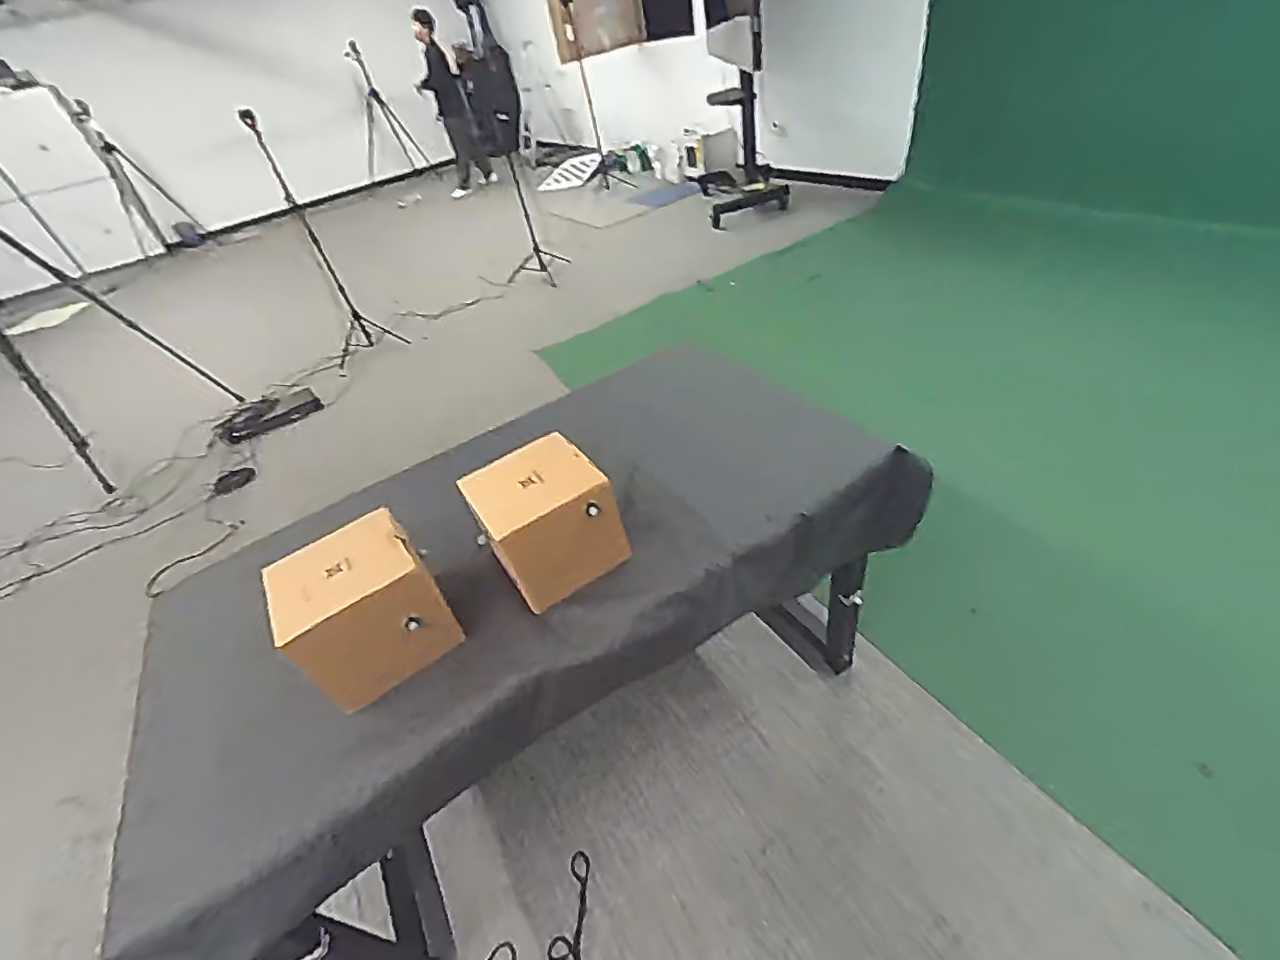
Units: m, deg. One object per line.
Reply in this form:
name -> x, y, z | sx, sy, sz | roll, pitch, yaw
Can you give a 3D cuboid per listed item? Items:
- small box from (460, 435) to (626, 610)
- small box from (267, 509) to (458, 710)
small box -> -0.143, 0.065, 0.831 | 0.179, 0.176, 0.168 | -30, 42, -20
small box -> -0.378, 0.179, 0.761 | 0.179, 0.176, 0.168 | -32, 42, -20
